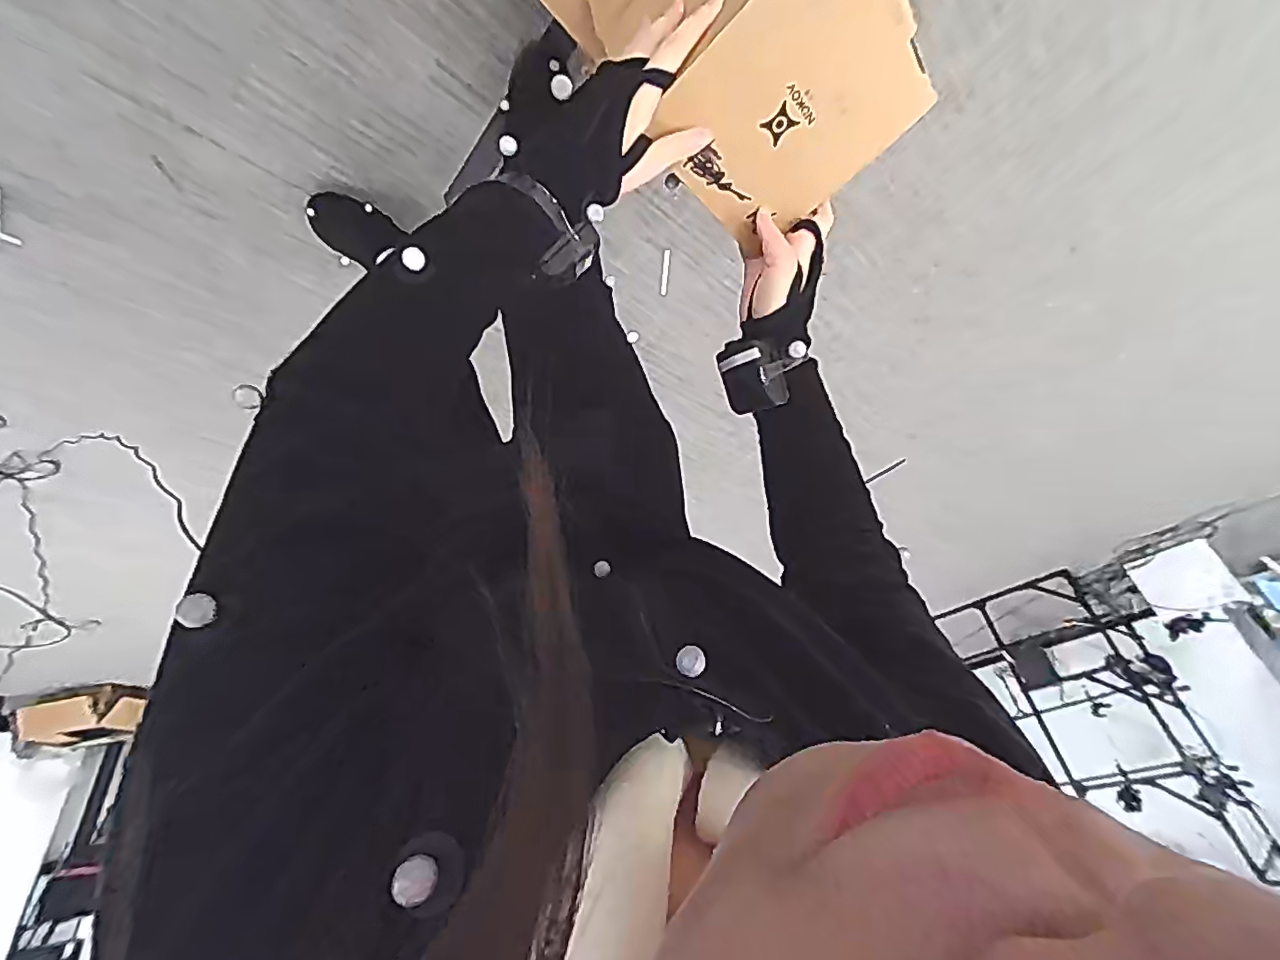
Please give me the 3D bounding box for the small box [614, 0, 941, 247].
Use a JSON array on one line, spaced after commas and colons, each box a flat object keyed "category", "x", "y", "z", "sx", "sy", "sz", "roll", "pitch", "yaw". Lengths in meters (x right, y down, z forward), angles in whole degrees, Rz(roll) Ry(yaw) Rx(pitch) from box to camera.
[{"category": "small box", "x": 0.098, "y": -0.342, "z": 0.438, "sx": 0.179, "sy": 0.176, "sz": 0.168, "roll": -34, "pitch": 141, "yaw": 29}]
